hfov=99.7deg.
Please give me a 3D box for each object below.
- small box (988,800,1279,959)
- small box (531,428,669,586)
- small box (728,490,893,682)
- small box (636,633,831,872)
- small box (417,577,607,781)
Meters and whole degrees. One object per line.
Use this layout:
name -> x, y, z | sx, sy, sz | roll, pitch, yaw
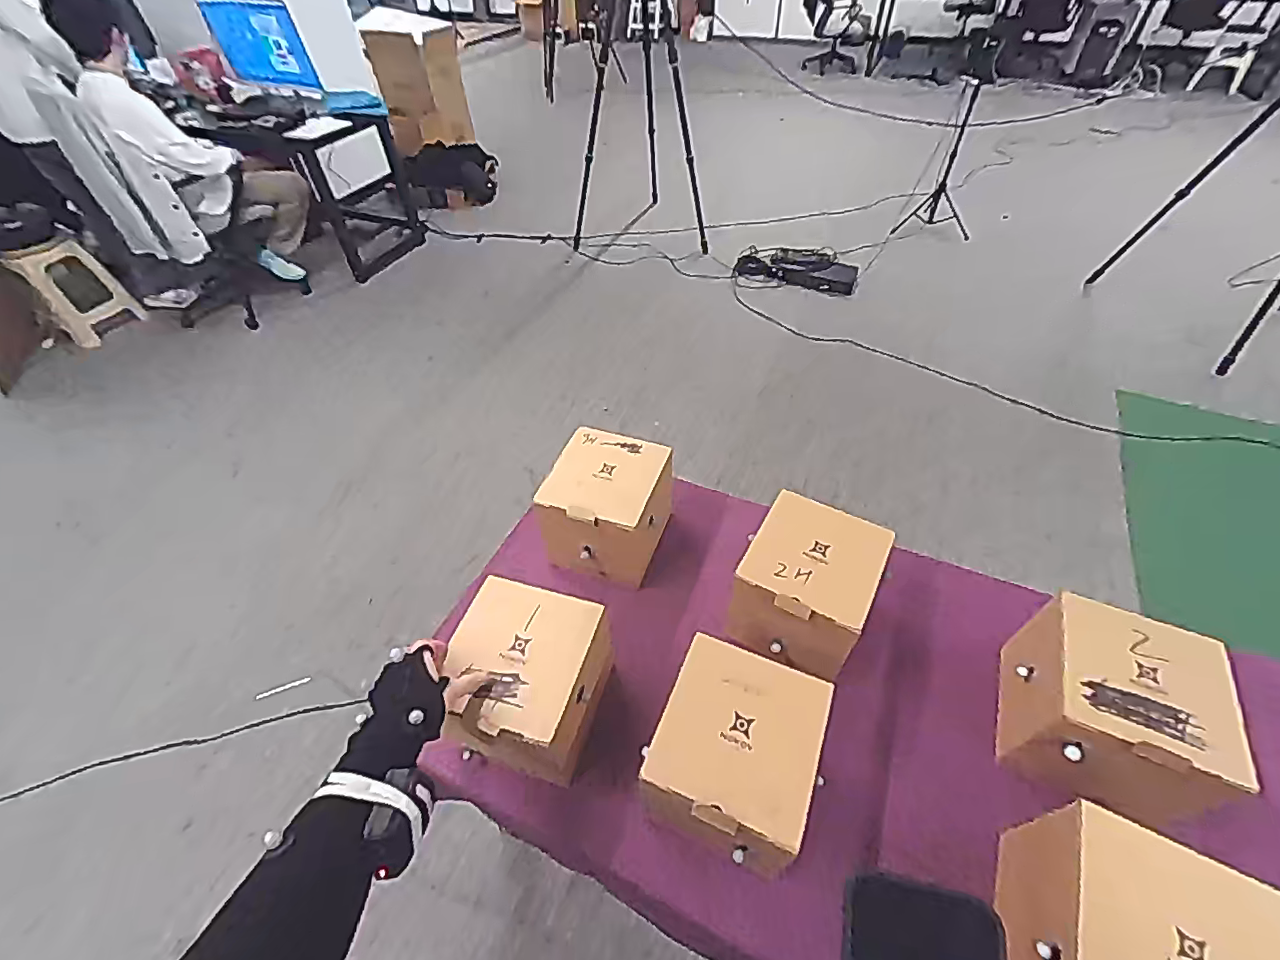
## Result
small box -> 0.452, 0.444, 0.502 | 0.168, 0.176, 0.179 | 21, 52, 21
small box -> -0.054, 0.047, 0.889 | 0.168, 0.176, 0.179 | 14, 51, 15
small box -> 0.236, 0.152, 0.779 | 0.168, 0.176, 0.179 | 23, 53, 22
small box -> 0.107, 0.320, 0.633 | 0.168, 0.176, 0.179 | 18, 50, 17
small box -> -0.146, 0.258, 0.698 | 0.168, 0.176, 0.179 | 12, 48, 13
